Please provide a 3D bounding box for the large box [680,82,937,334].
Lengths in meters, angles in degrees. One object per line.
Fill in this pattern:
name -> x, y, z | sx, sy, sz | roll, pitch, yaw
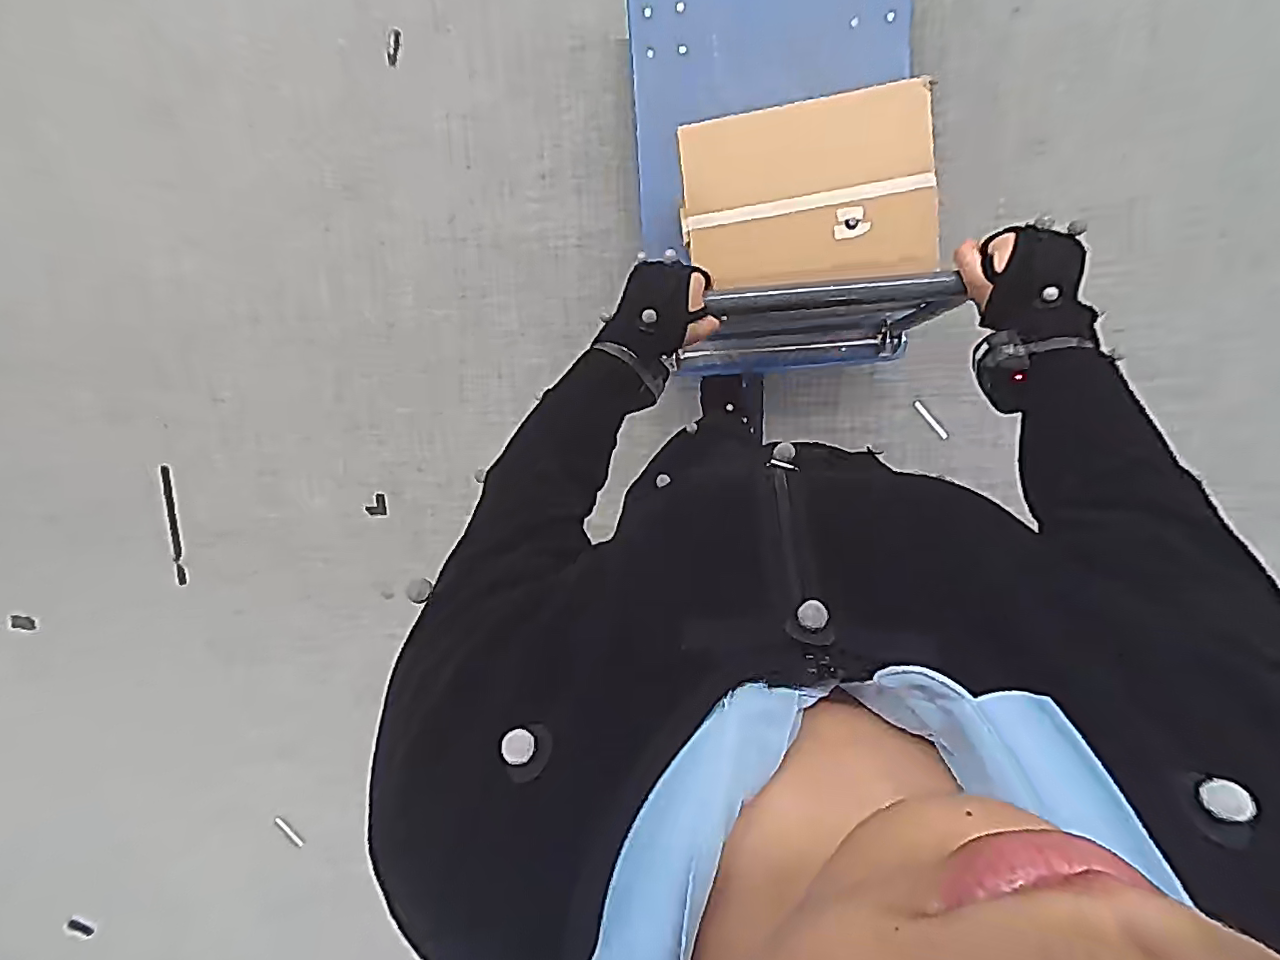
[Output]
large box -> 0.300, -0.488, 1.061 | 0.408, 0.320, 0.320 | -7, 99, 8
